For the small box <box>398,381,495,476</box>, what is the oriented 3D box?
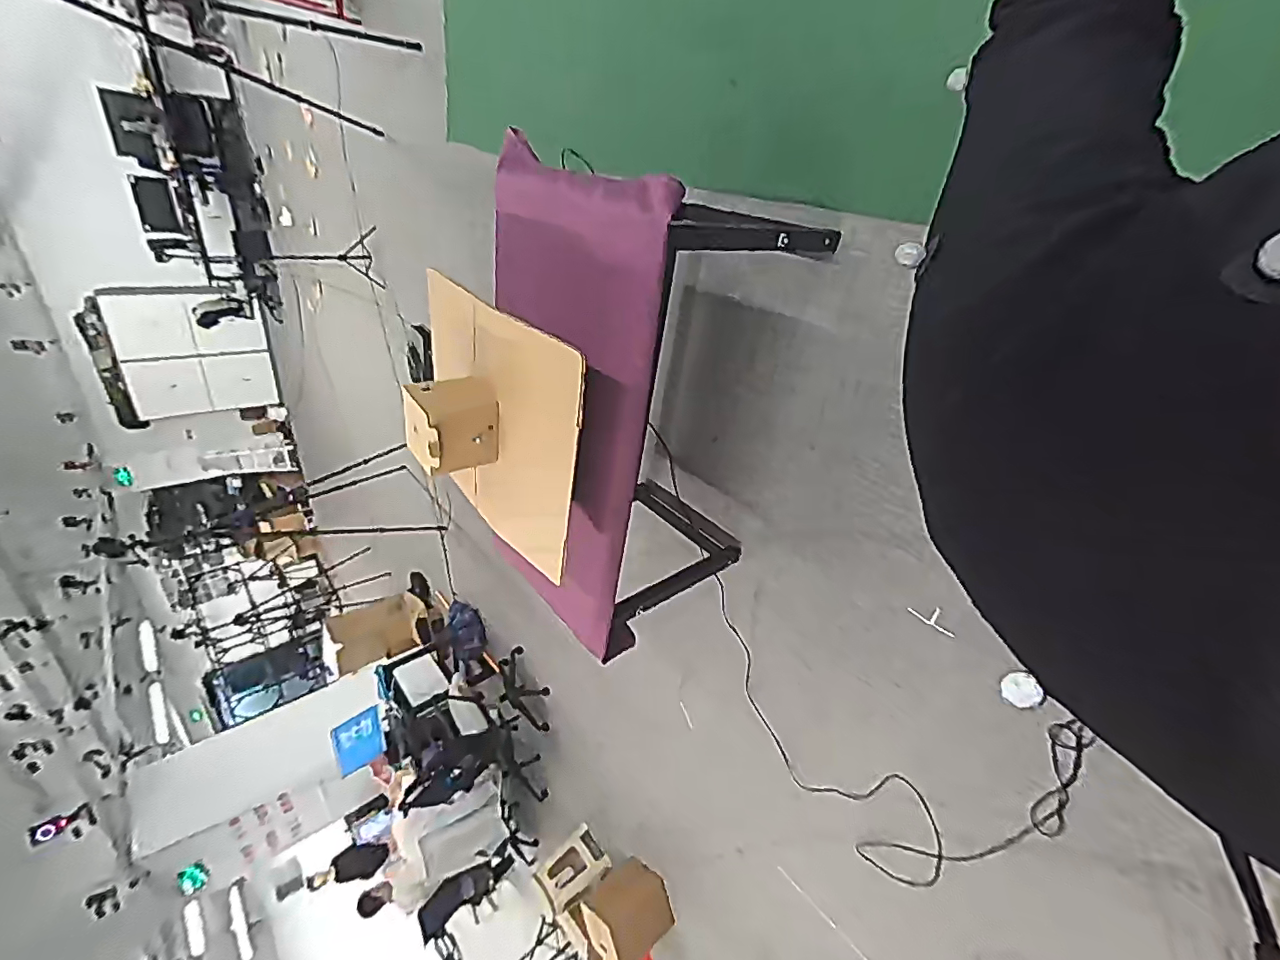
[{"bbox_3d":[-0.473,-0.134,1.322,0.179,0.176,0.168,38,131,36],"label":"small box"}]
